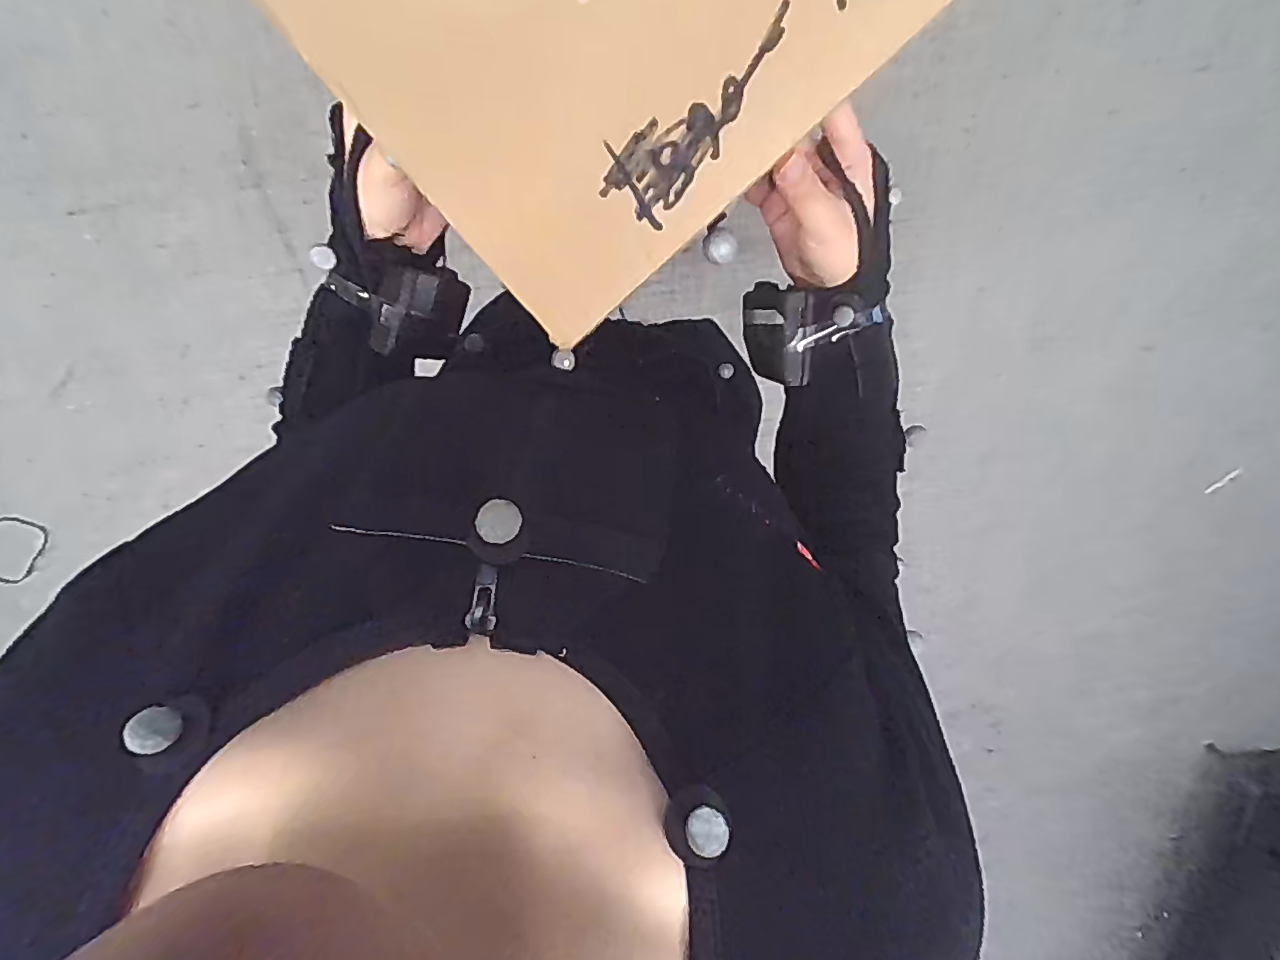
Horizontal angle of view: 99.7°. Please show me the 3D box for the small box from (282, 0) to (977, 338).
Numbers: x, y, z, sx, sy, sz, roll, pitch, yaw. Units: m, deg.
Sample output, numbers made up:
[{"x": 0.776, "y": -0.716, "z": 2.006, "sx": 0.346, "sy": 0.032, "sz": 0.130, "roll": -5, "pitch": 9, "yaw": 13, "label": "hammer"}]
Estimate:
[{"x": -0.015, "y": -0.184, "z": 0.229, "sx": 0.168, "sy": 0.176, "sz": 0.179, "roll": -39, "pitch": 106, "yaw": 13, "label": "small box"}]
